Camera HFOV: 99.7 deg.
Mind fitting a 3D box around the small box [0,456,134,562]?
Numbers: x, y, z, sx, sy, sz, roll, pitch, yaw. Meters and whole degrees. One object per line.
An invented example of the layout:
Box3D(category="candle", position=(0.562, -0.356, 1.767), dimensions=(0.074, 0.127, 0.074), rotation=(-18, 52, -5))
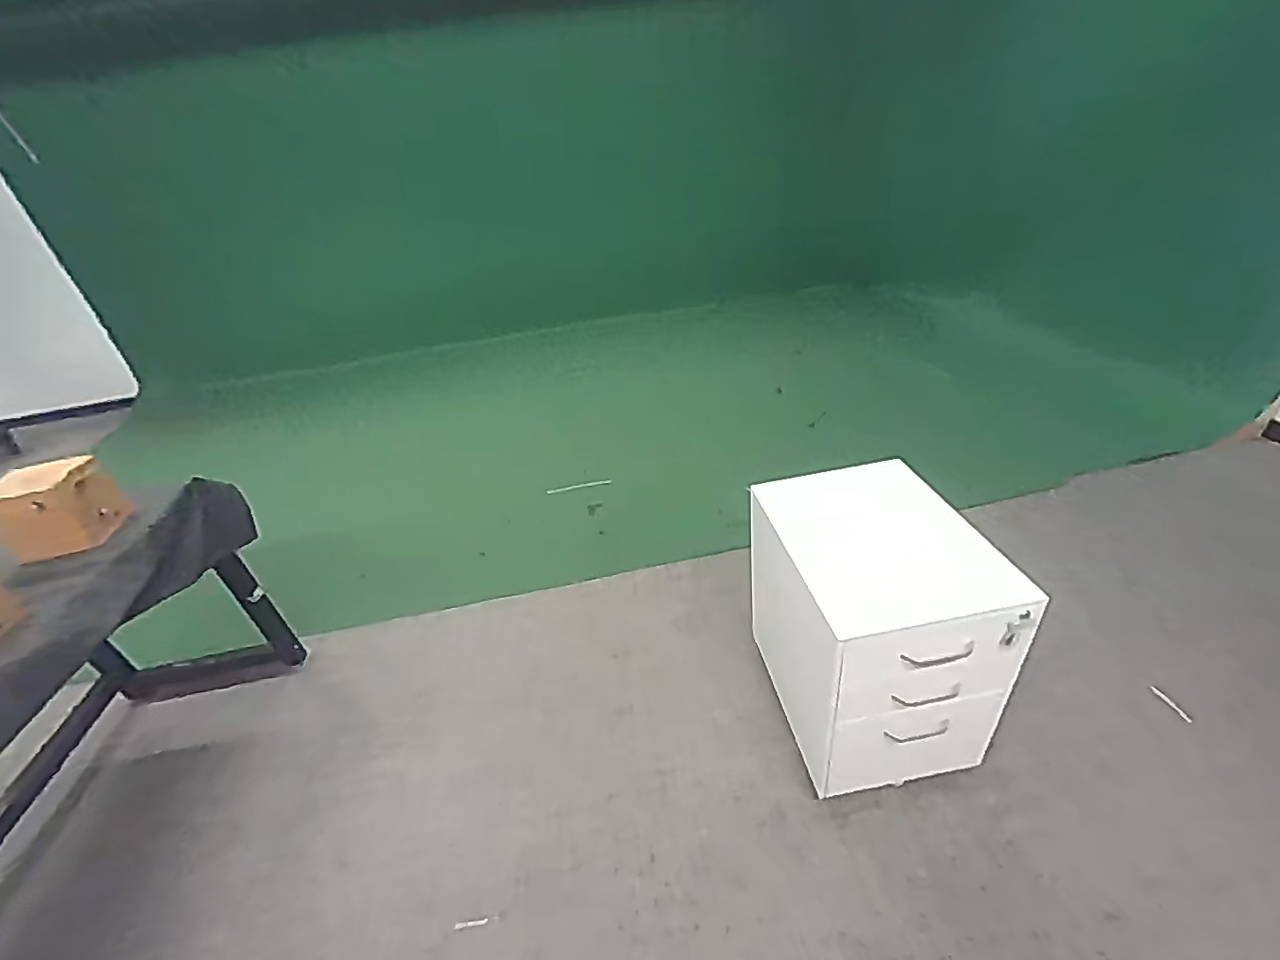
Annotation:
Box3D(category="small box", position=(-1.371, 0.069, 1.270), dimensions=(0.179, 0.176, 0.168), rotation=(-13, 33, -8))
